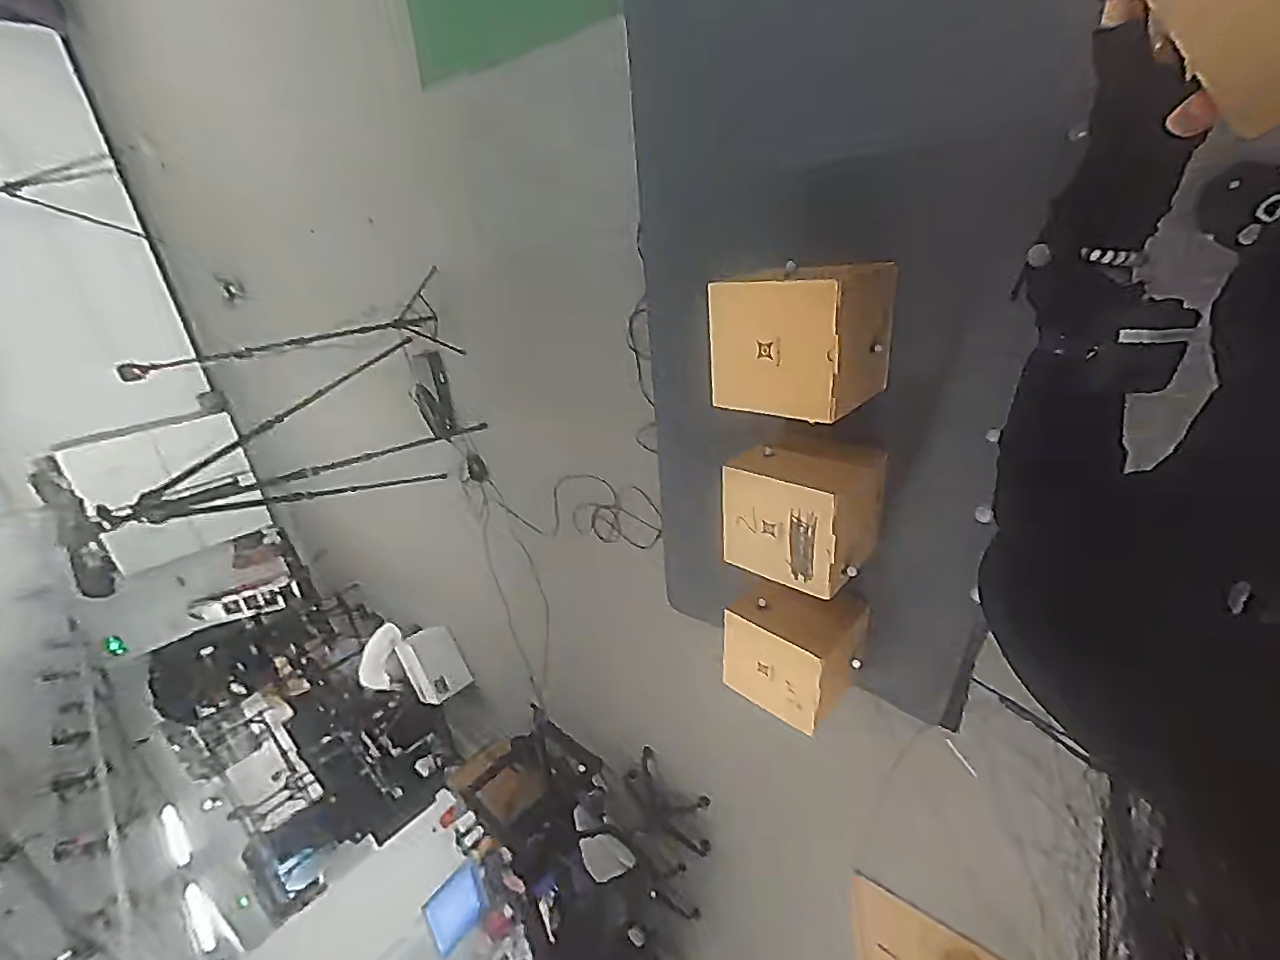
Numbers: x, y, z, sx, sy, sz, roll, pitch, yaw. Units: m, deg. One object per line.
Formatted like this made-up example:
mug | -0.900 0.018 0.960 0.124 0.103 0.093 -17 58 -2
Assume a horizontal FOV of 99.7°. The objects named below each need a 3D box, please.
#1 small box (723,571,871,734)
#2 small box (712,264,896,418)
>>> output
small box | 0.262 0.276 0.915 0.179 0.176 0.168 20 124 40
small box | 0.216 -0.192 0.721 0.179 0.176 0.168 15 121 40
